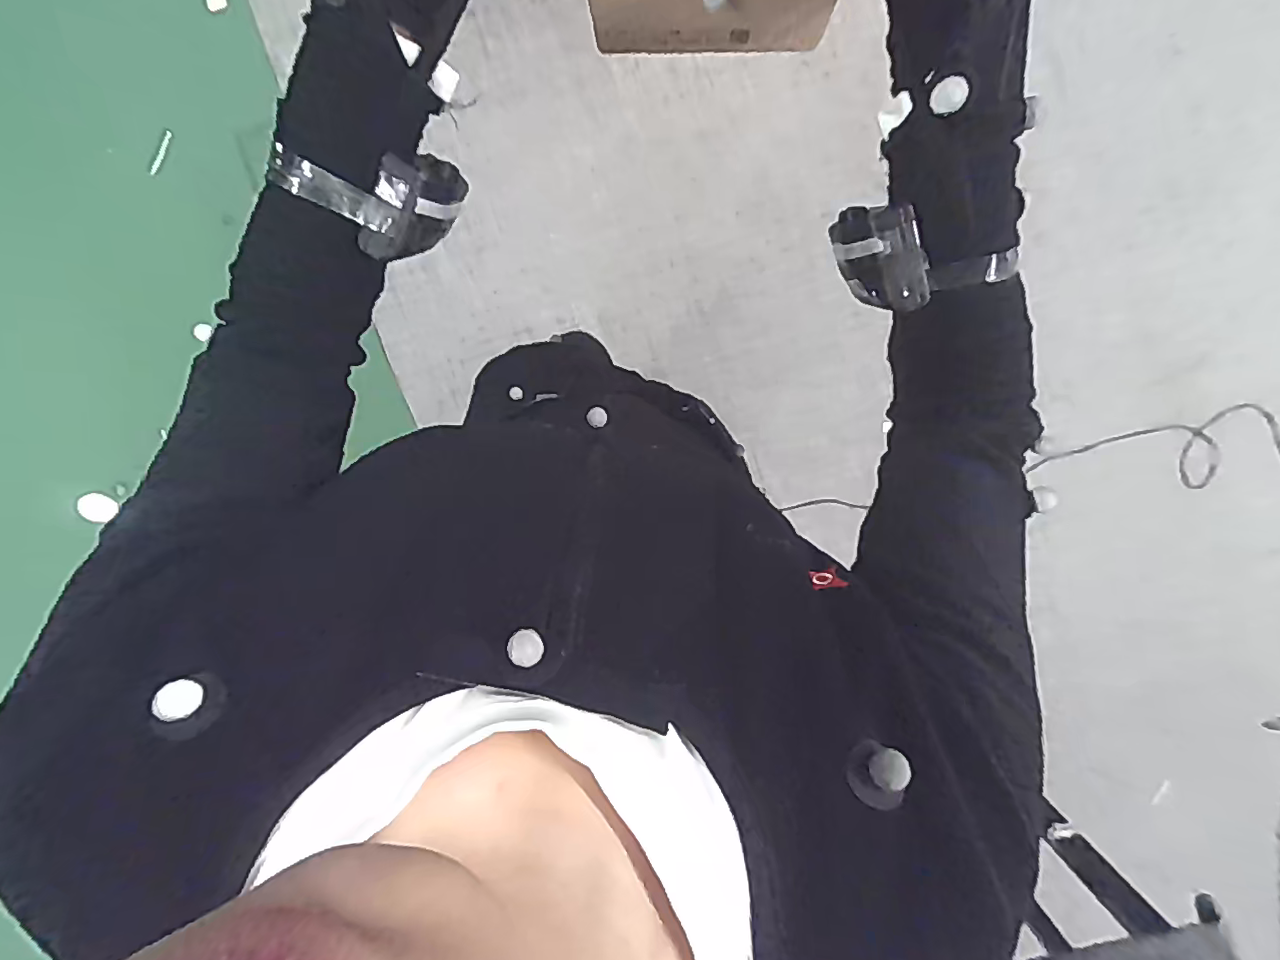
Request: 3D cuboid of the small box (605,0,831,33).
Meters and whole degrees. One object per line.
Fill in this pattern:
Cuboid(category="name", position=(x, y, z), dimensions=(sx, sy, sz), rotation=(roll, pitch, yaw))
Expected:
Cuboid(category="small box", position=(0.051, -0.399, 0.310), dimensions=(0.168, 0.176, 0.179), rotation=(2, 100, 3))
